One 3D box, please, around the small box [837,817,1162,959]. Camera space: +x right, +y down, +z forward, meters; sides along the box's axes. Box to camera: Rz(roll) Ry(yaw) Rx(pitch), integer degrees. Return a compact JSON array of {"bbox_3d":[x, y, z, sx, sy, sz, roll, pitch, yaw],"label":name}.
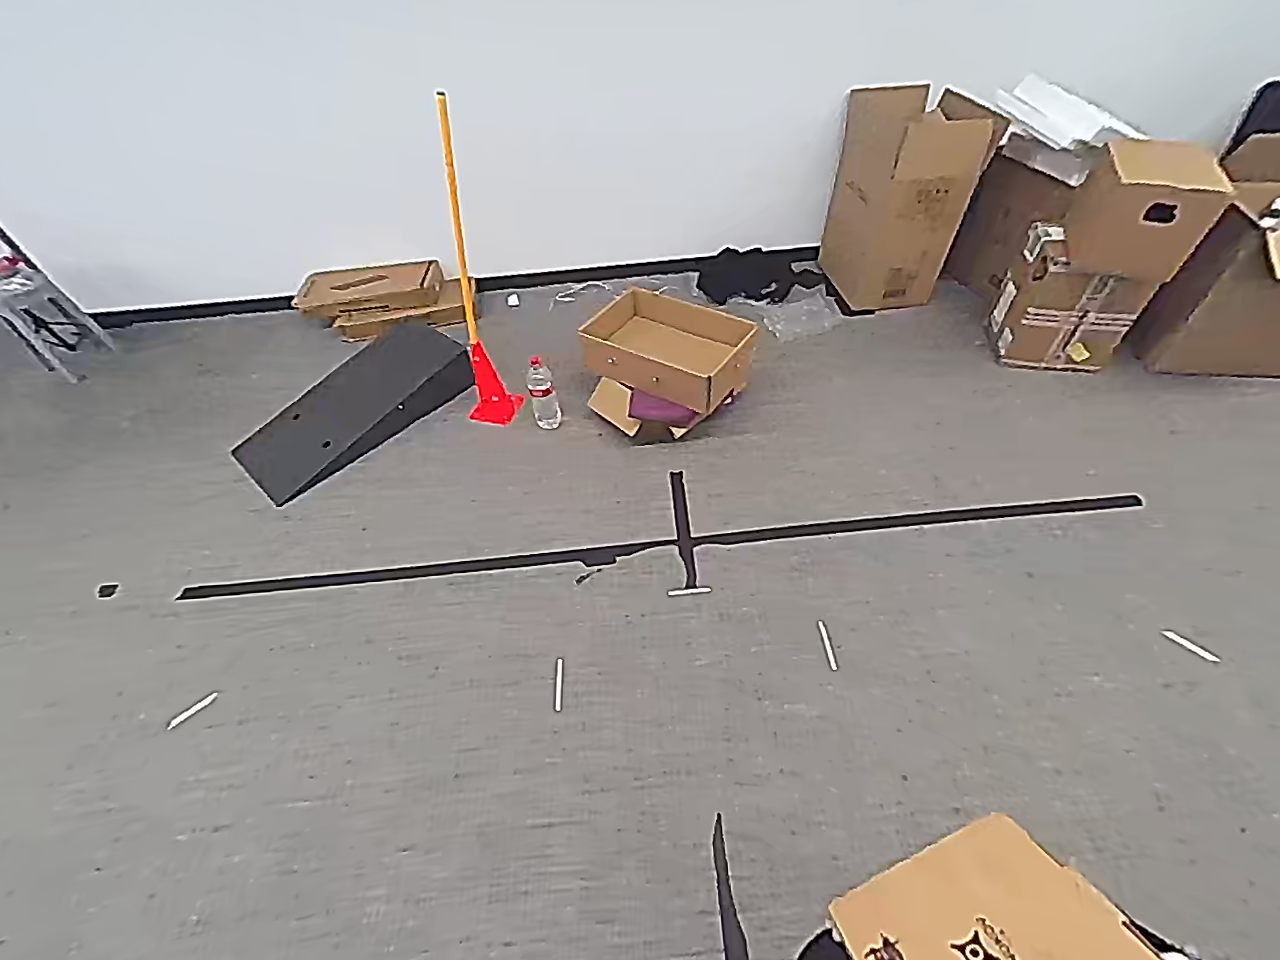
[{"bbox_3d":[0.286,0.411,0.402,0.179,0.176,0.168,-25,8,-3],"label":"small box"}]
